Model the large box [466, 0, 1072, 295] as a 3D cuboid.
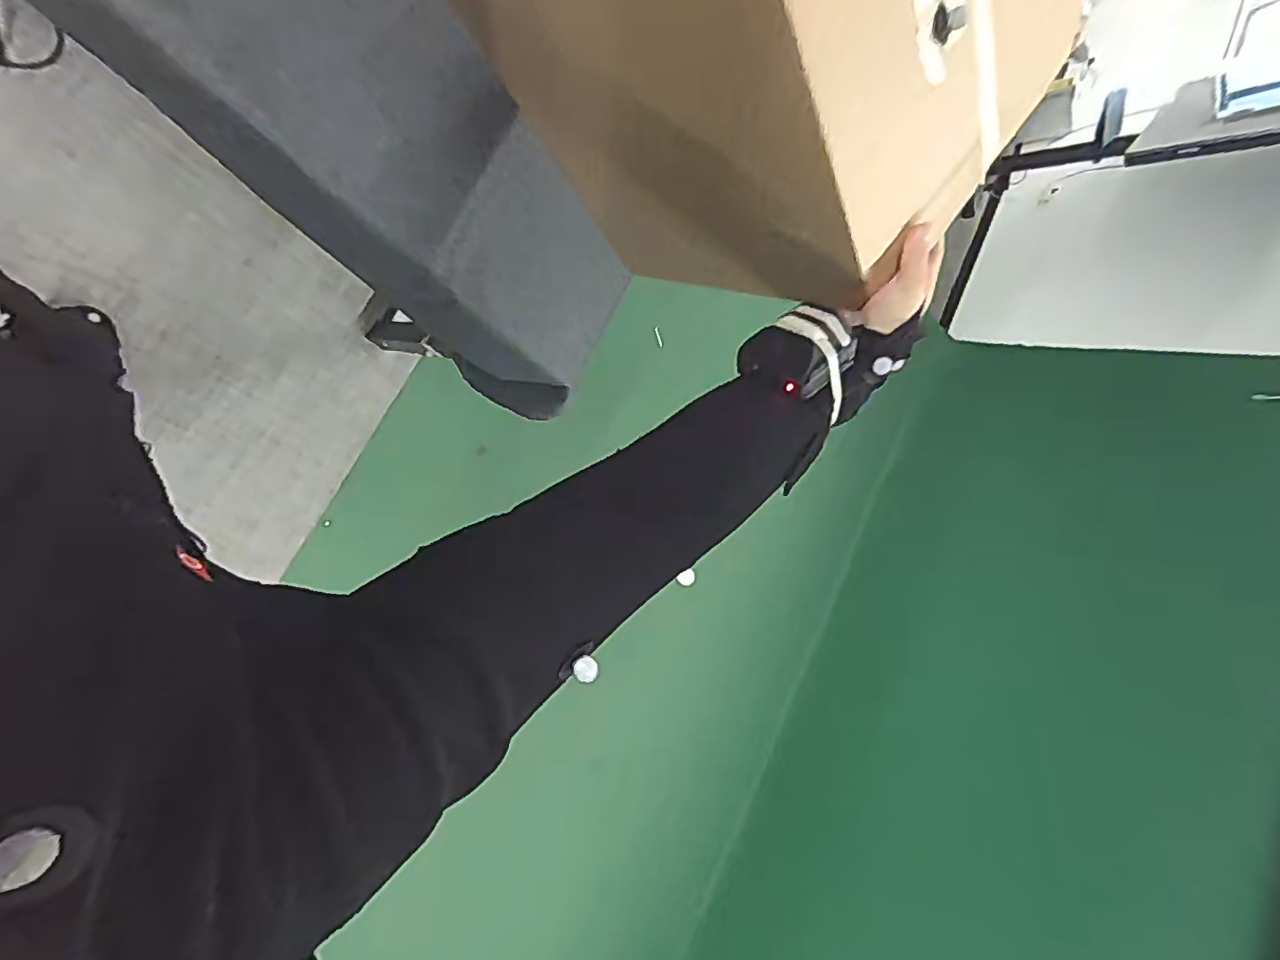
[{"bbox_3d":[0.079,-0.410,0.395,0.320,0.320,0.408,-52,137,-6],"label":"large box"}]
